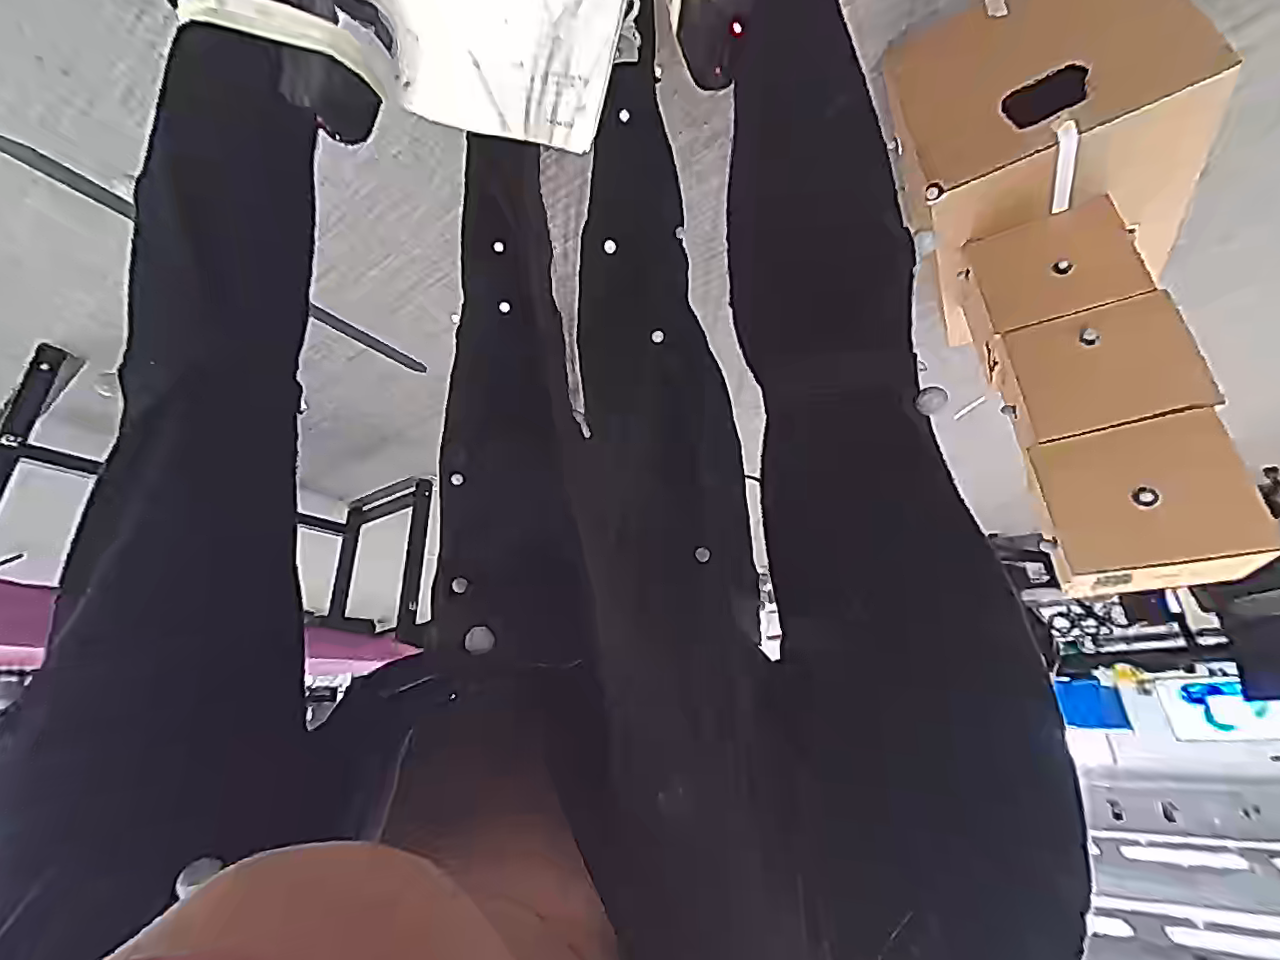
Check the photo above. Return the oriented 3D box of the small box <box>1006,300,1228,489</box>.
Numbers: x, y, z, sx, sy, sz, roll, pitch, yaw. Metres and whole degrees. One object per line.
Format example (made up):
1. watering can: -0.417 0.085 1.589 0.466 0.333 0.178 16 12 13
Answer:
1. small box: 0.613 -0.107 0.728 0.179 0.176 0.168 -14 154 28

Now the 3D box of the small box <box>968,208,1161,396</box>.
1. small box: 0.600 -0.255 0.797 0.179 0.176 0.168 -14 154 25
